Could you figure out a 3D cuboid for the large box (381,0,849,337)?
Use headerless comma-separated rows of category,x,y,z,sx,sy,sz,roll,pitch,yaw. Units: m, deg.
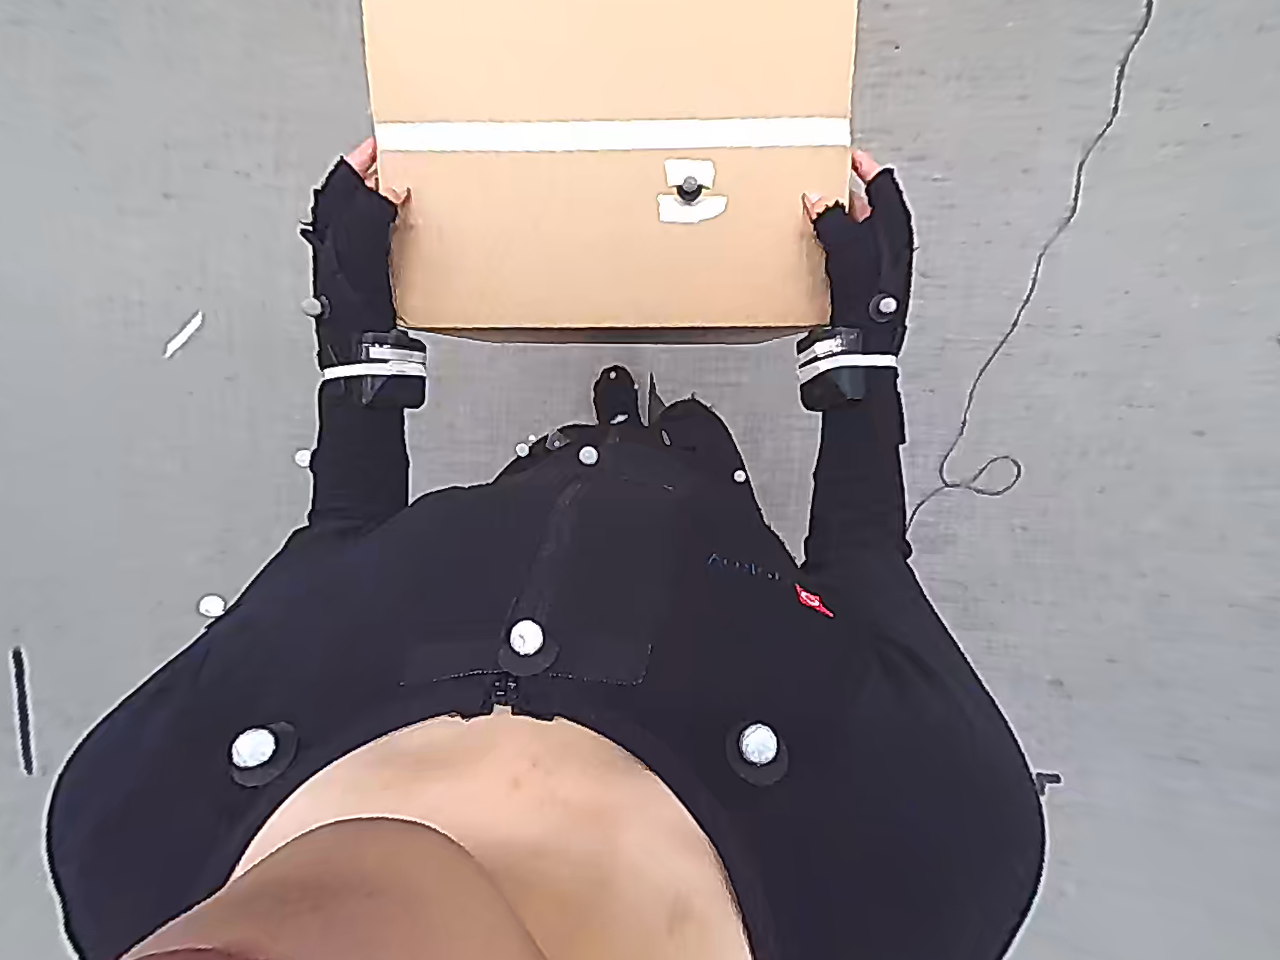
large box,-0.022,-0.336,0.620,0.408,0.320,0.320,0,102,0
